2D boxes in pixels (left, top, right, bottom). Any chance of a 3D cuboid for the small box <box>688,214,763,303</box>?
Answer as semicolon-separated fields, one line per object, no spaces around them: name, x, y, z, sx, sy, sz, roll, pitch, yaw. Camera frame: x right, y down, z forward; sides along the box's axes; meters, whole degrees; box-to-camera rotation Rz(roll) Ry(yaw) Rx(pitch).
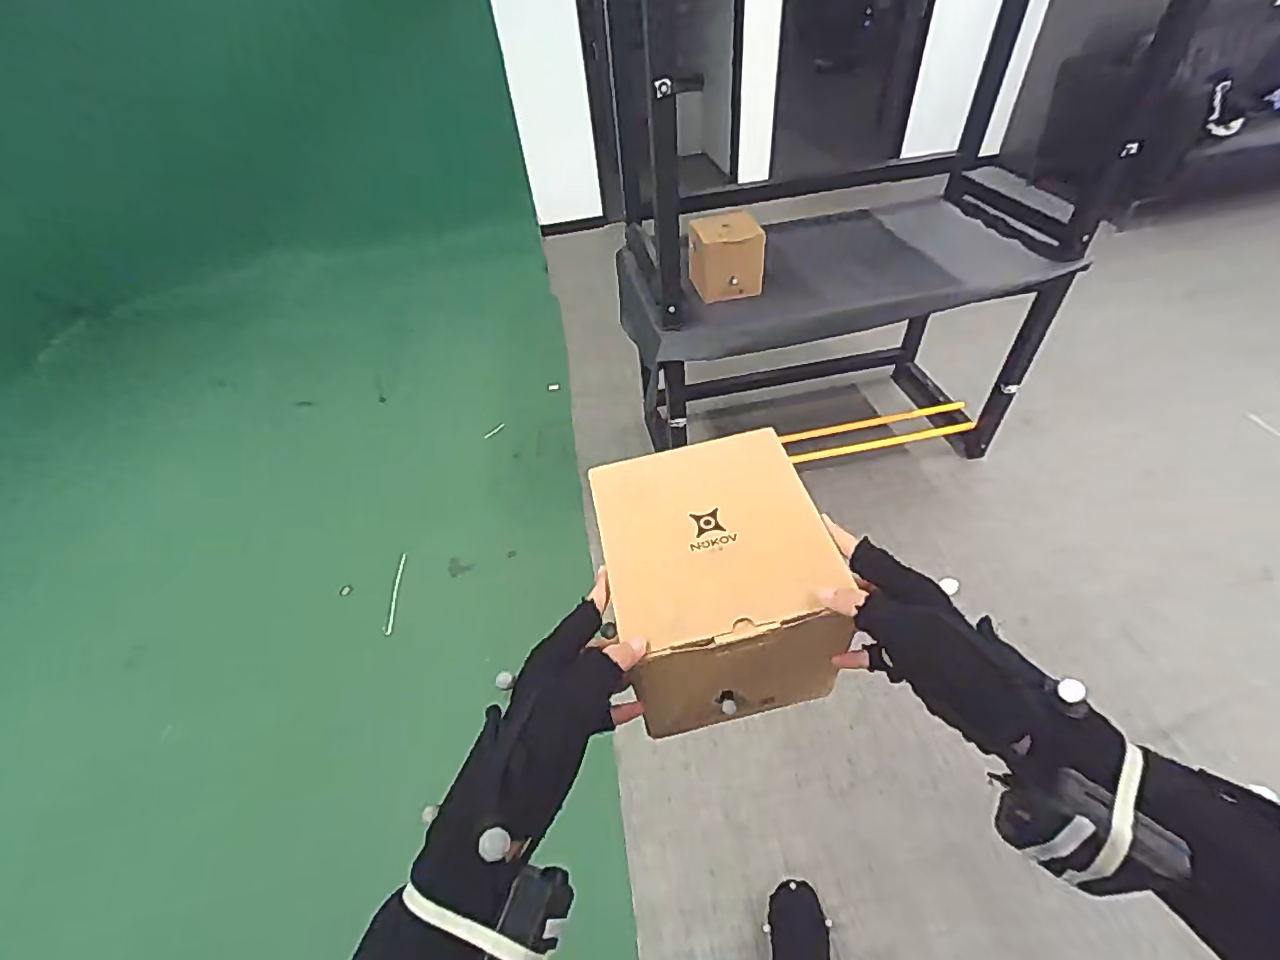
small box;0.232;-0.618;1.509;0.168;0.176;0.179;-11;45;-3
